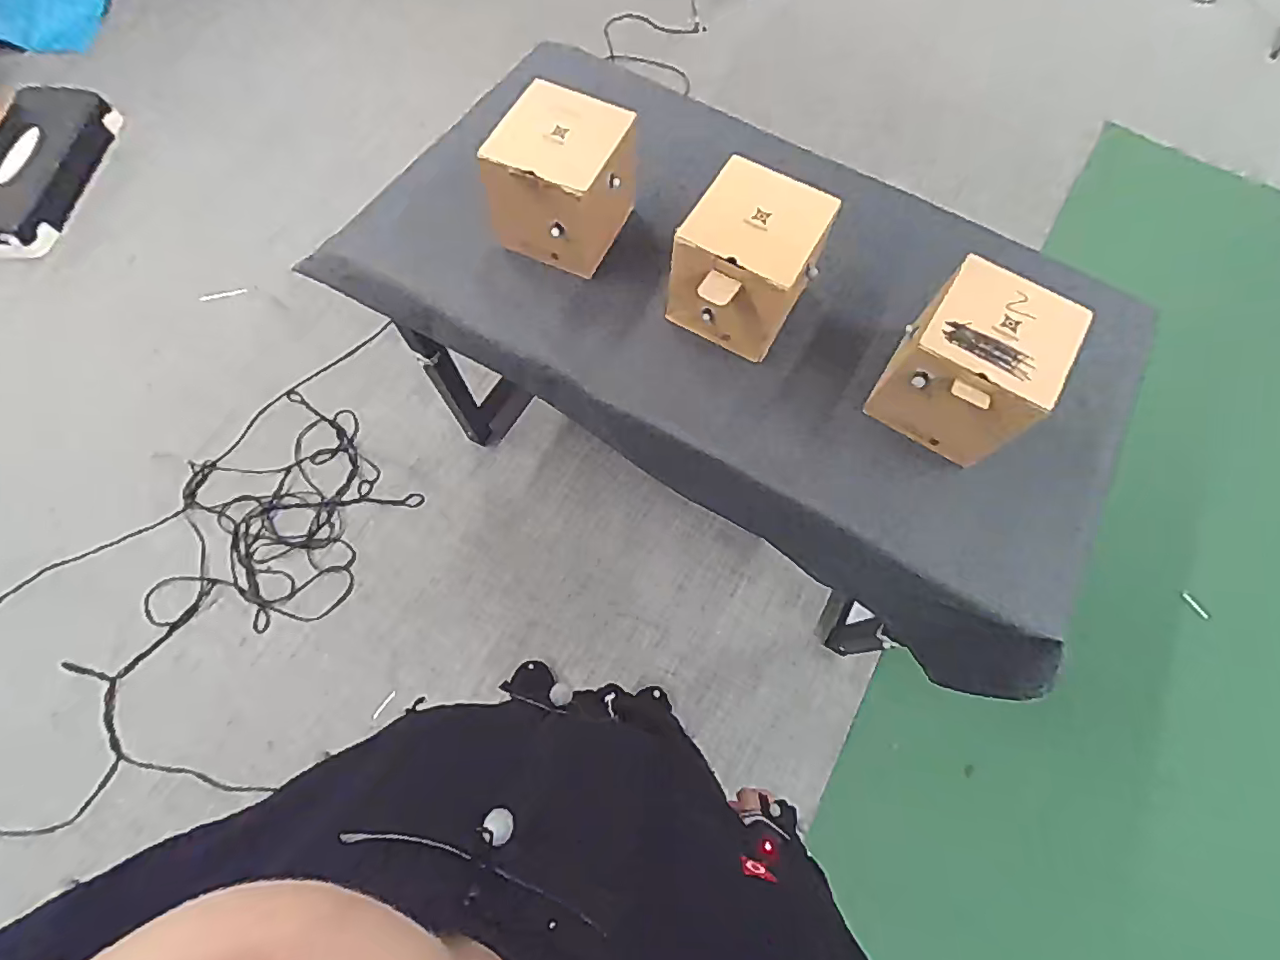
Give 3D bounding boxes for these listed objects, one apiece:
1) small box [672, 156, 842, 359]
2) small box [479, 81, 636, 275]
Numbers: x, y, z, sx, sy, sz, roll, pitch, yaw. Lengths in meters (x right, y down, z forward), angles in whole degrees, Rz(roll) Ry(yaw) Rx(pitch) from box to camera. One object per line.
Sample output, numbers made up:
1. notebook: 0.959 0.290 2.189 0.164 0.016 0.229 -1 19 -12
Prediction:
1. small box: 0.157 -0.313 0.784 0.168 0.176 0.179 29 71 8
2. small box: -0.115 -0.452 0.827 0.168 0.176 0.179 23 69 5
